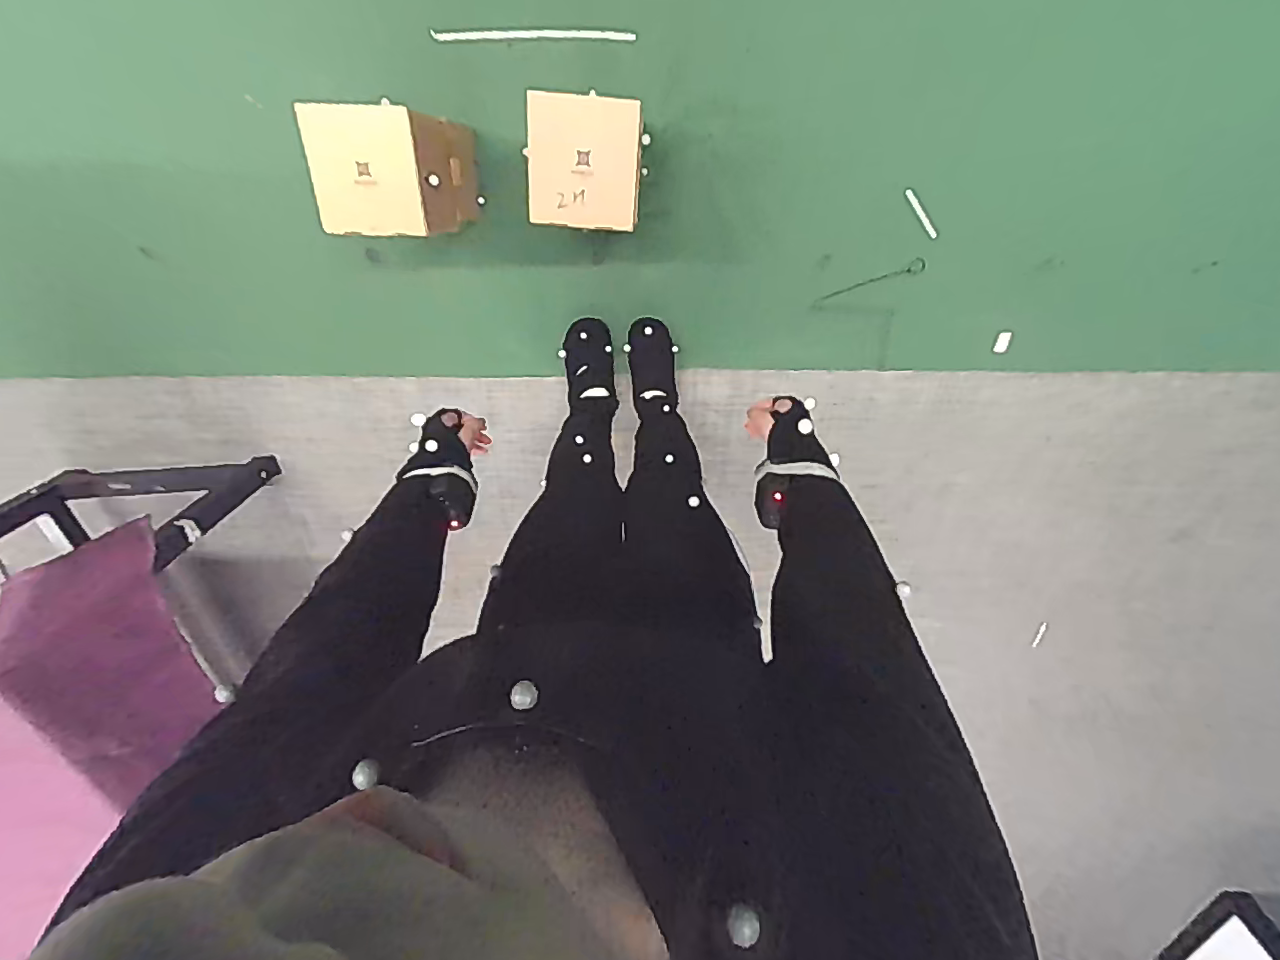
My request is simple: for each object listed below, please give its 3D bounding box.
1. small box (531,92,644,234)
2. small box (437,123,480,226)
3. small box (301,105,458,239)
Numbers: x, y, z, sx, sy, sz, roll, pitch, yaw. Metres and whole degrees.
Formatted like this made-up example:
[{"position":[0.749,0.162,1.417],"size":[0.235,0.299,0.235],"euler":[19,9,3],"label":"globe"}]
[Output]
[{"position":[-0.084,-0.513,0.887],"size":[0.168,0.176,0.179],"euler":[5,120,-2],"label":"small box"},{"position":[-0.416,-0.587,1.038],"size":[0.179,0.176,0.168],"euler":[2,119,1],"label":"small box"},{"position":[-0.417,-0.505,0.898],"size":[0.168,0.176,0.179],"euler":[2,119,0],"label":"small box"}]
